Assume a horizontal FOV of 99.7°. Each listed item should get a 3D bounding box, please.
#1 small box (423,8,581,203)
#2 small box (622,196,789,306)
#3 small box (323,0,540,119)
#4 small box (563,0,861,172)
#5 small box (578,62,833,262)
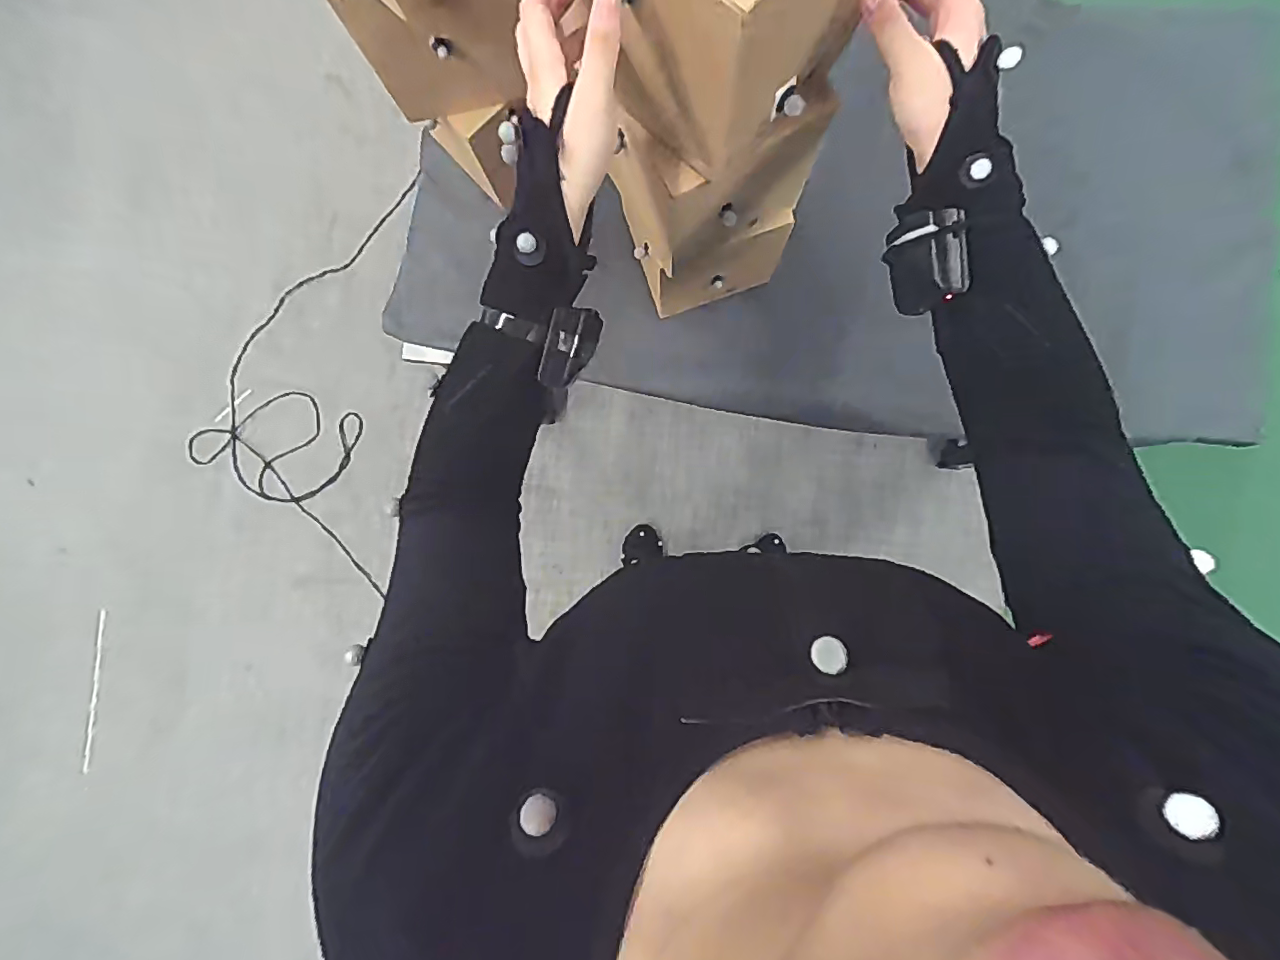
[{"bbox_3d":[-0.202,-0.520,0.725,0.168,0.176,0.179,-43,86,1],"label":"small box"},{"bbox_3d":[0.074,-0.346,0.702,0.168,0.176,0.179,-19,86,1],"label":"small box"},{"bbox_3d":[-0.211,-0.522,0.561,0.179,0.176,0.168,-12,88,3],"label":"small box"},{"bbox_3d":[0.050,-0.367,0.379,0.179,0.176,0.168,42,91,5],"label":"small box"},{"bbox_3d":[0.058,-0.348,0.541,0.168,0.176,0.179,-29,85,2],"label":"small box"}]
